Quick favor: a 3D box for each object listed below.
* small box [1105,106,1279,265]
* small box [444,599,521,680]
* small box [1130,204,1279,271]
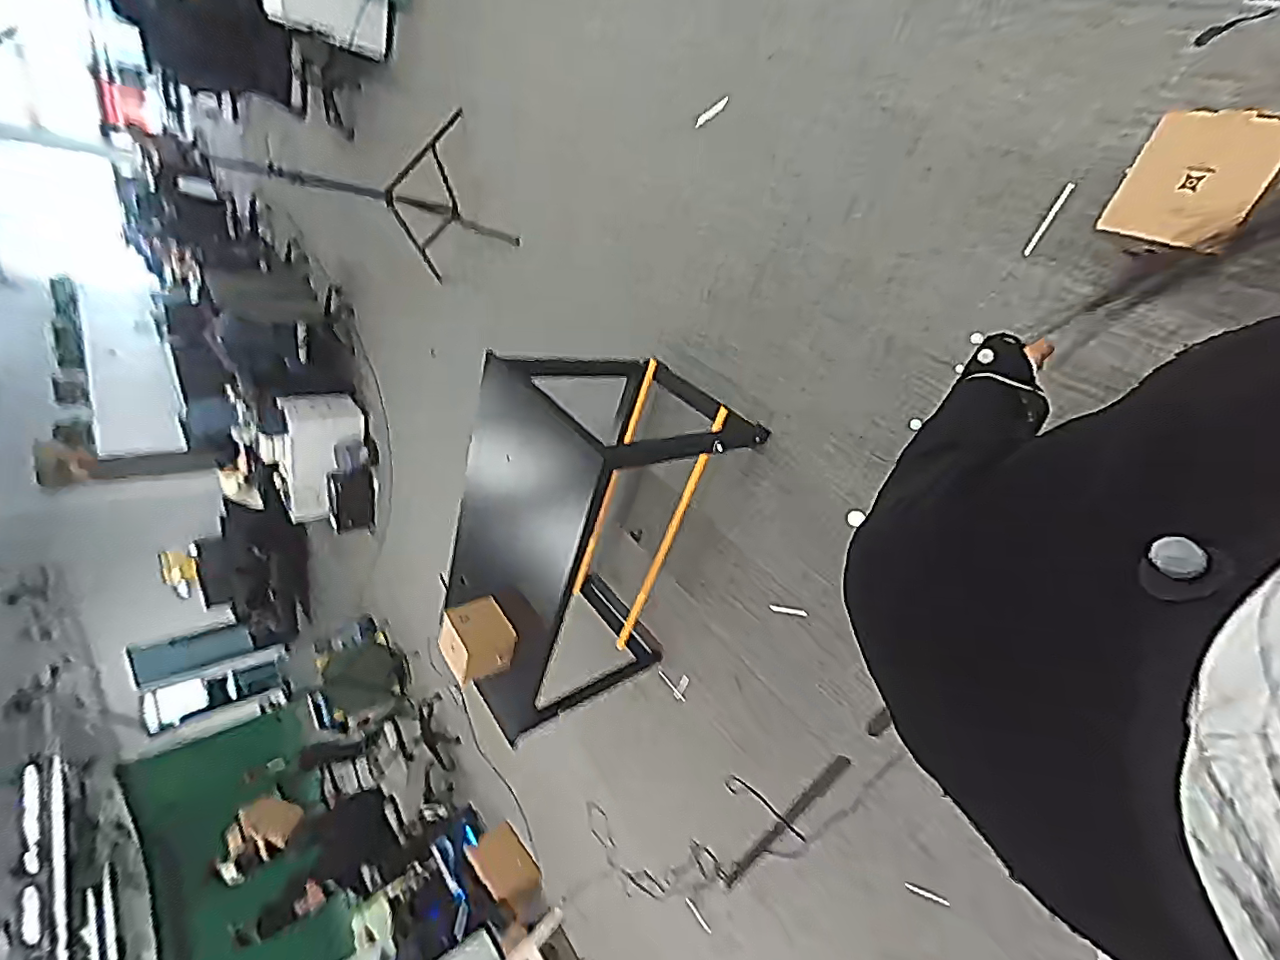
[{"bbox_3d":[0.894,-0.457,0.854,0.168,0.176,0.179,40,127,37],"label":"small box"},{"bbox_3d":[-0.514,0.510,1.759,0.179,0.176,0.168,45,128,33],"label":"small box"},{"bbox_3d":[1.011,-0.484,0.962,0.179,0.176,0.168,41,126,34],"label":"small box"}]
